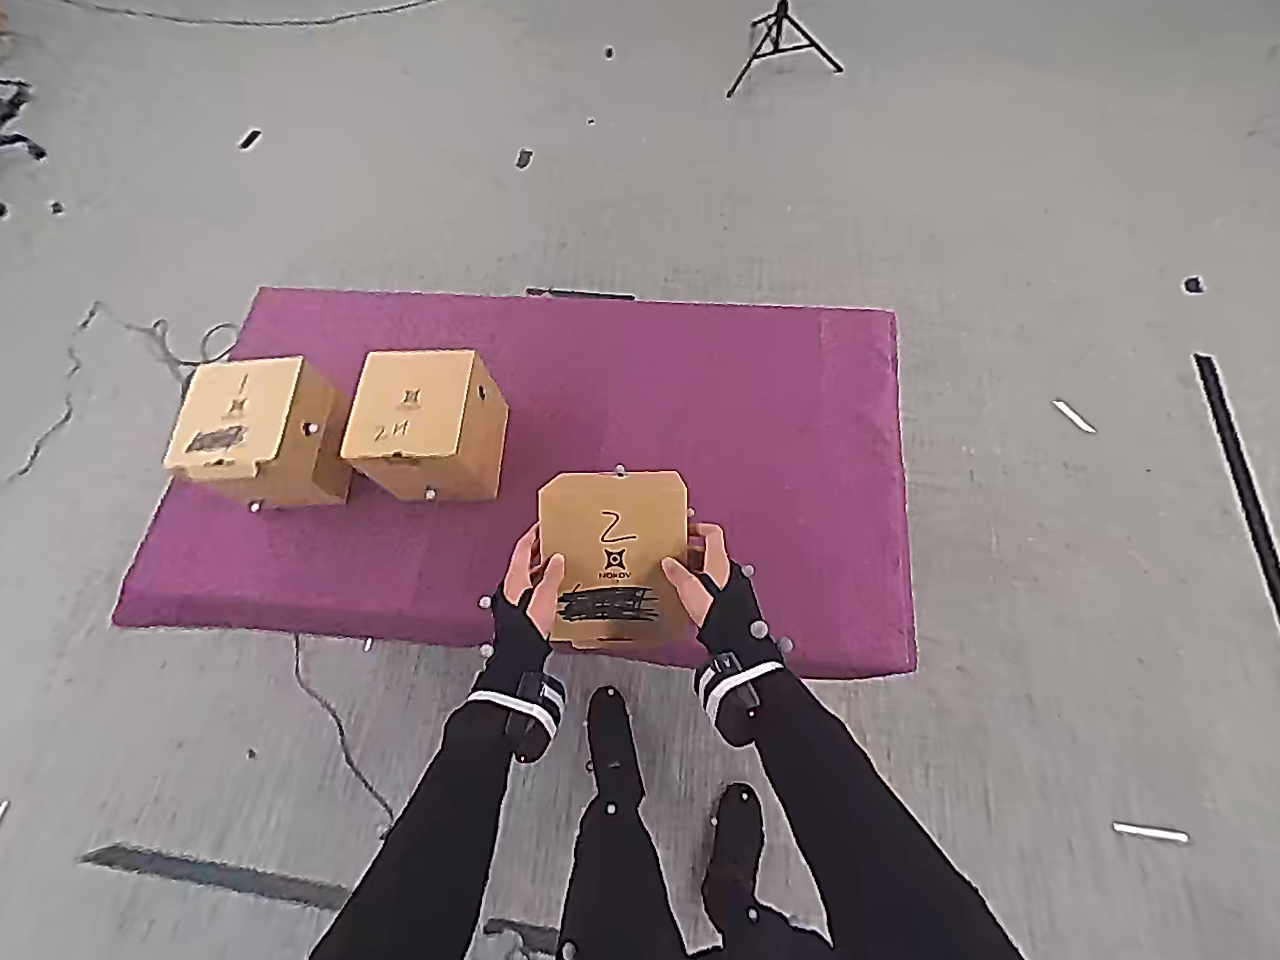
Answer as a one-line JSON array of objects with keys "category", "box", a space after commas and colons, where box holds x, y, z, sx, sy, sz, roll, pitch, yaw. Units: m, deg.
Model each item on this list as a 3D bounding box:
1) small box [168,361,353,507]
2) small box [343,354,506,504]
[{"category": "small box", "box": [-0.573, -0.063, 0.853, 0.168, 0.176, 0.179, -3, 66, 3]}, {"category": "small box", "box": [-0.317, -0.074, 0.838, 0.168, 0.176, 0.179, 0, 68, 5]}]
